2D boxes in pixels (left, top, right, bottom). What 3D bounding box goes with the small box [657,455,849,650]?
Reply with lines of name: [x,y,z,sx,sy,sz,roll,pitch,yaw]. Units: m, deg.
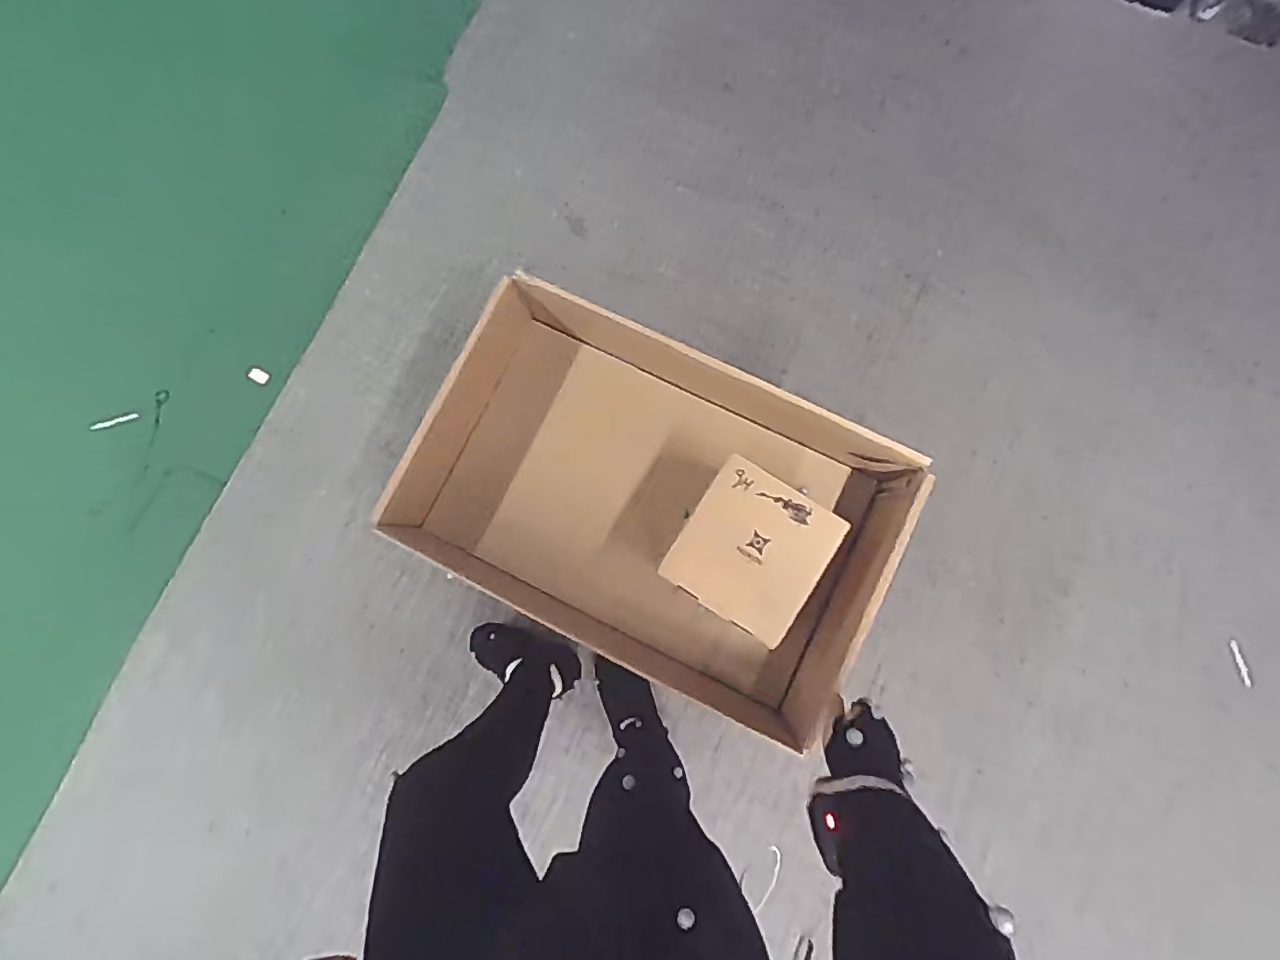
small box: [0.139,0.092,0.719,0.168,0.176,0.179,33,86,4]
